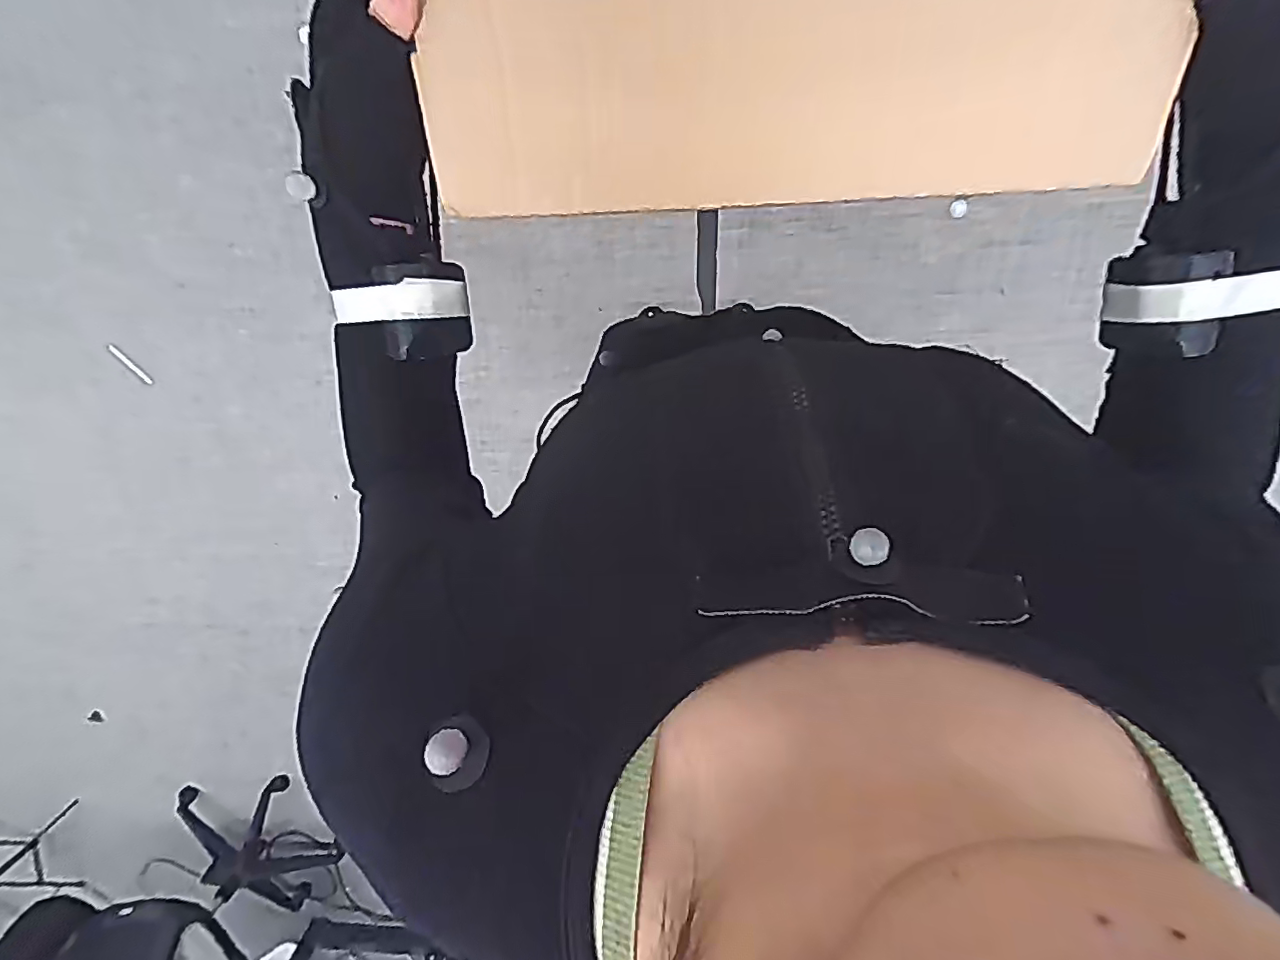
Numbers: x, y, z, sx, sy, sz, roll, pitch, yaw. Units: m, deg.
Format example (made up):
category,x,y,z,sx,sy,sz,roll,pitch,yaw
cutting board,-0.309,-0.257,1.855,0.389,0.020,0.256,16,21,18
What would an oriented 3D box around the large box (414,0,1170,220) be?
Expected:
category,x,y,z,sx,sy,sz,roll,pitch,yaw
large box,0.082,-0.381,0.385,0.408,0.320,0.320,-1,120,4
